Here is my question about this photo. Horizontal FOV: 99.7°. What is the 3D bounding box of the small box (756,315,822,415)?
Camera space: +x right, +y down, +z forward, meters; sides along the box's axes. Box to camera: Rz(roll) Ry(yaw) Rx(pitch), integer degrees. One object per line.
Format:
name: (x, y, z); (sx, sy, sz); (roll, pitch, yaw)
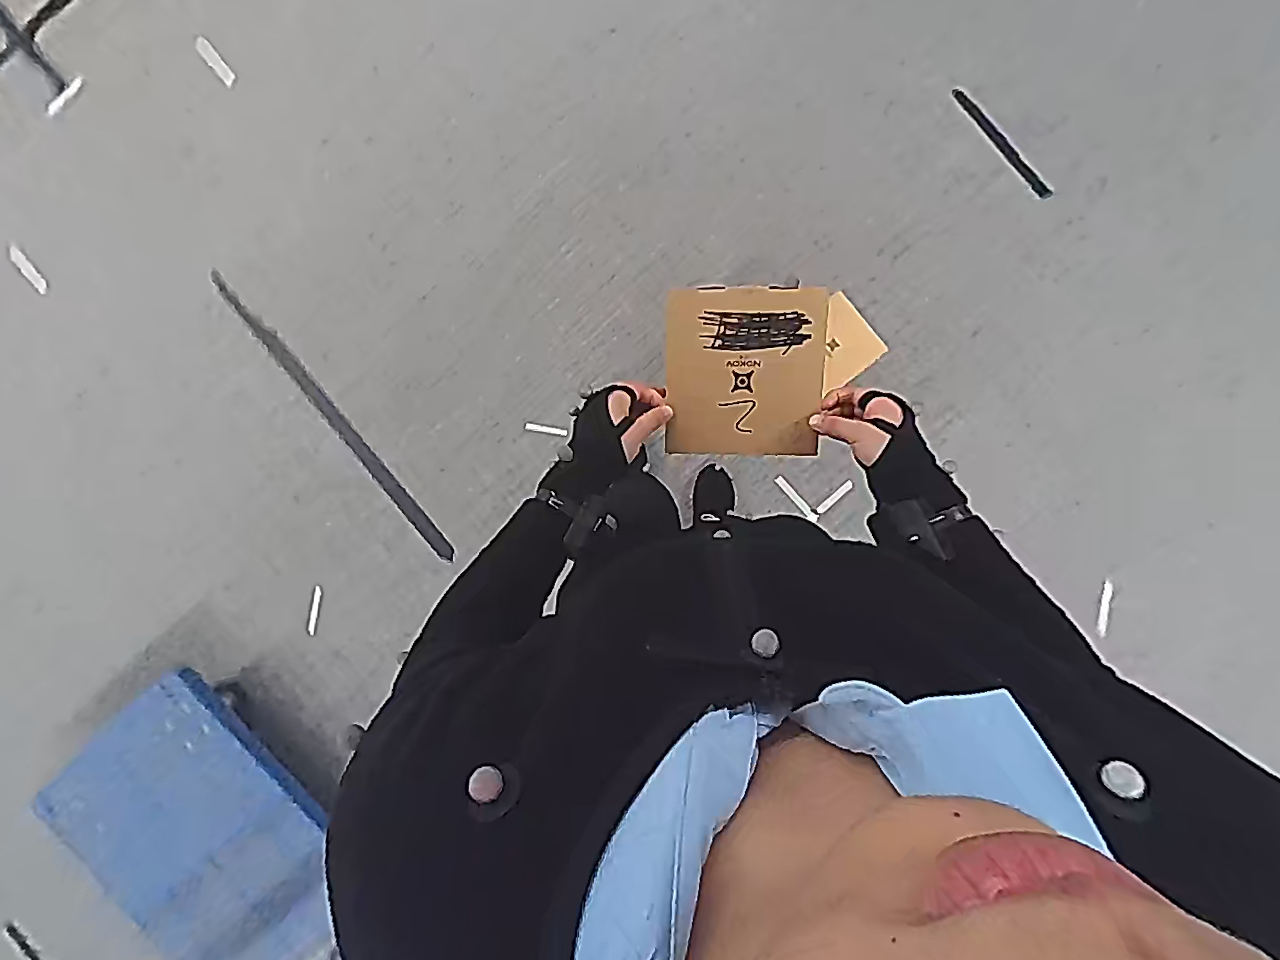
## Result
small box: (0.416, -0.283, 1.375); (0.168, 0.176, 0.179); (38, 95, 1)

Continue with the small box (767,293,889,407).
small box: (0.409, -0.282, 1.212); (0.179, 0.176, 0.168); (-39, 91, 5)
